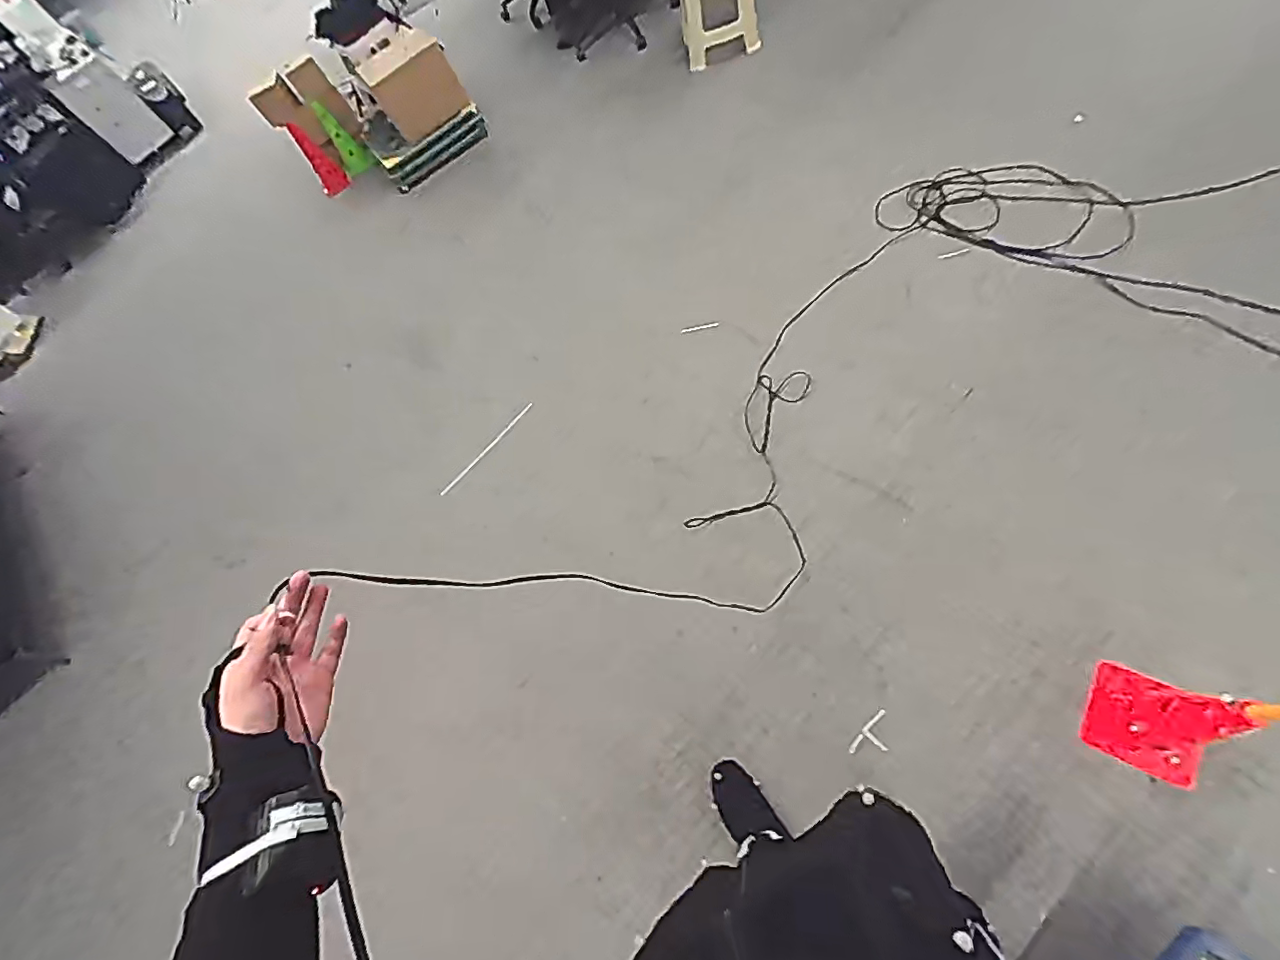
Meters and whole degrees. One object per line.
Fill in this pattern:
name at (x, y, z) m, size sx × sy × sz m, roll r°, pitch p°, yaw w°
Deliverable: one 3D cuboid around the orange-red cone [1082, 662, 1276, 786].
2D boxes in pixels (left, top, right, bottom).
orange-red cone at (1.049, 0.450, 1.026) m, size 0.198 × 0.360 × 0.199 m, roll 24°, pitch 73°, yaw 26°
